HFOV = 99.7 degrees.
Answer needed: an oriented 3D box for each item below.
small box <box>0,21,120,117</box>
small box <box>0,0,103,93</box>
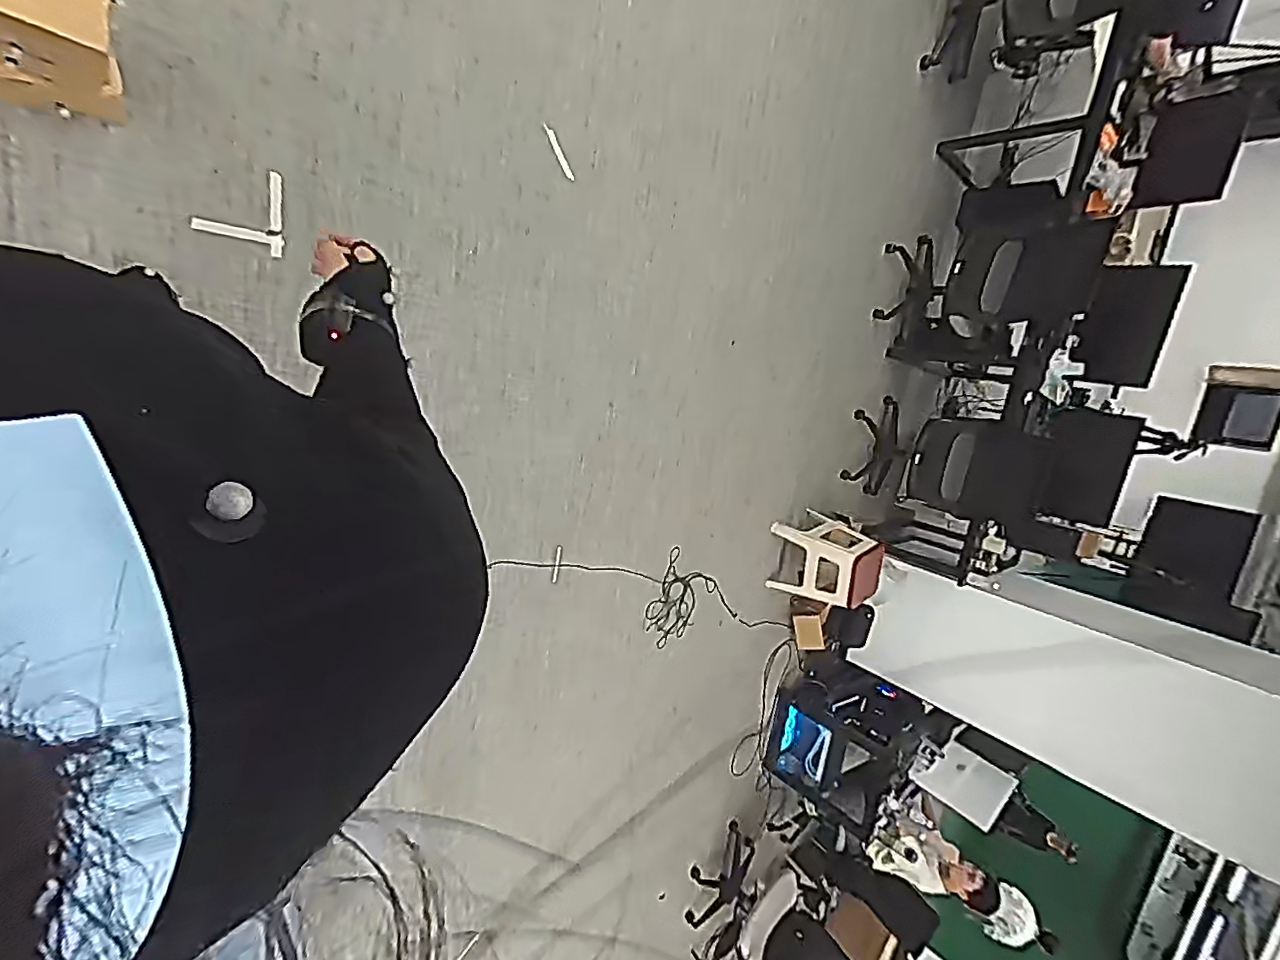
[{"bbox_3d":[-0.967,-0.715,0.864,0.168,0.176,0.179,-15,114,-39],"label":"small box"},{"bbox_3d":[-0.861,-0.682,0.745,0.168,0.176,0.179,0,104,-44],"label":"small box"}]
